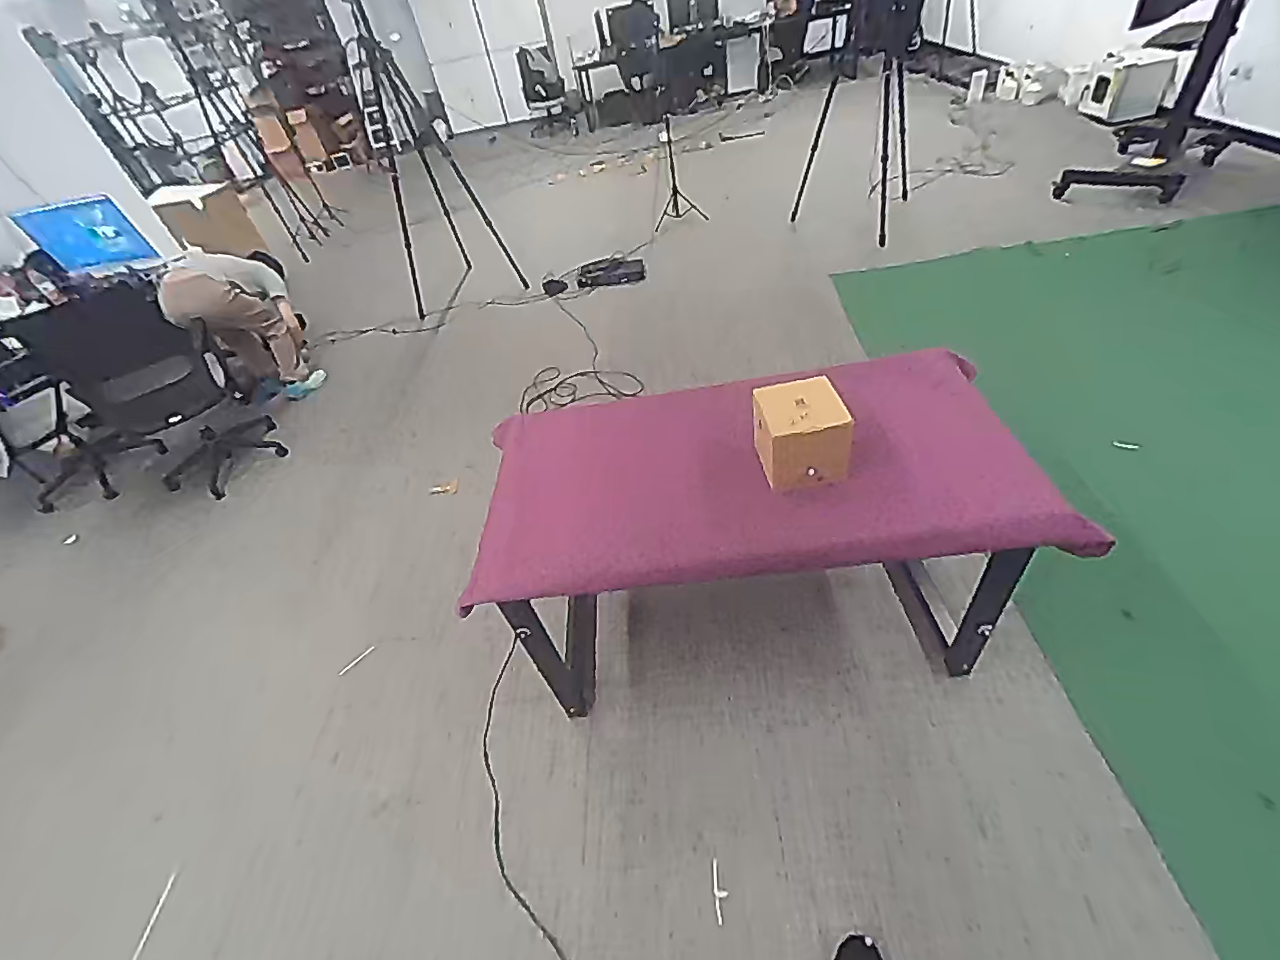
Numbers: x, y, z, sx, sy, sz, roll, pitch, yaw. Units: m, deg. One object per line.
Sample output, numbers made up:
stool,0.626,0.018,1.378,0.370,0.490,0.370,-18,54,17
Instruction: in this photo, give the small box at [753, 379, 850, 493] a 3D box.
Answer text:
small box,0.349,-0.097,1.201,0.168,0.176,0.179,-10,43,4
